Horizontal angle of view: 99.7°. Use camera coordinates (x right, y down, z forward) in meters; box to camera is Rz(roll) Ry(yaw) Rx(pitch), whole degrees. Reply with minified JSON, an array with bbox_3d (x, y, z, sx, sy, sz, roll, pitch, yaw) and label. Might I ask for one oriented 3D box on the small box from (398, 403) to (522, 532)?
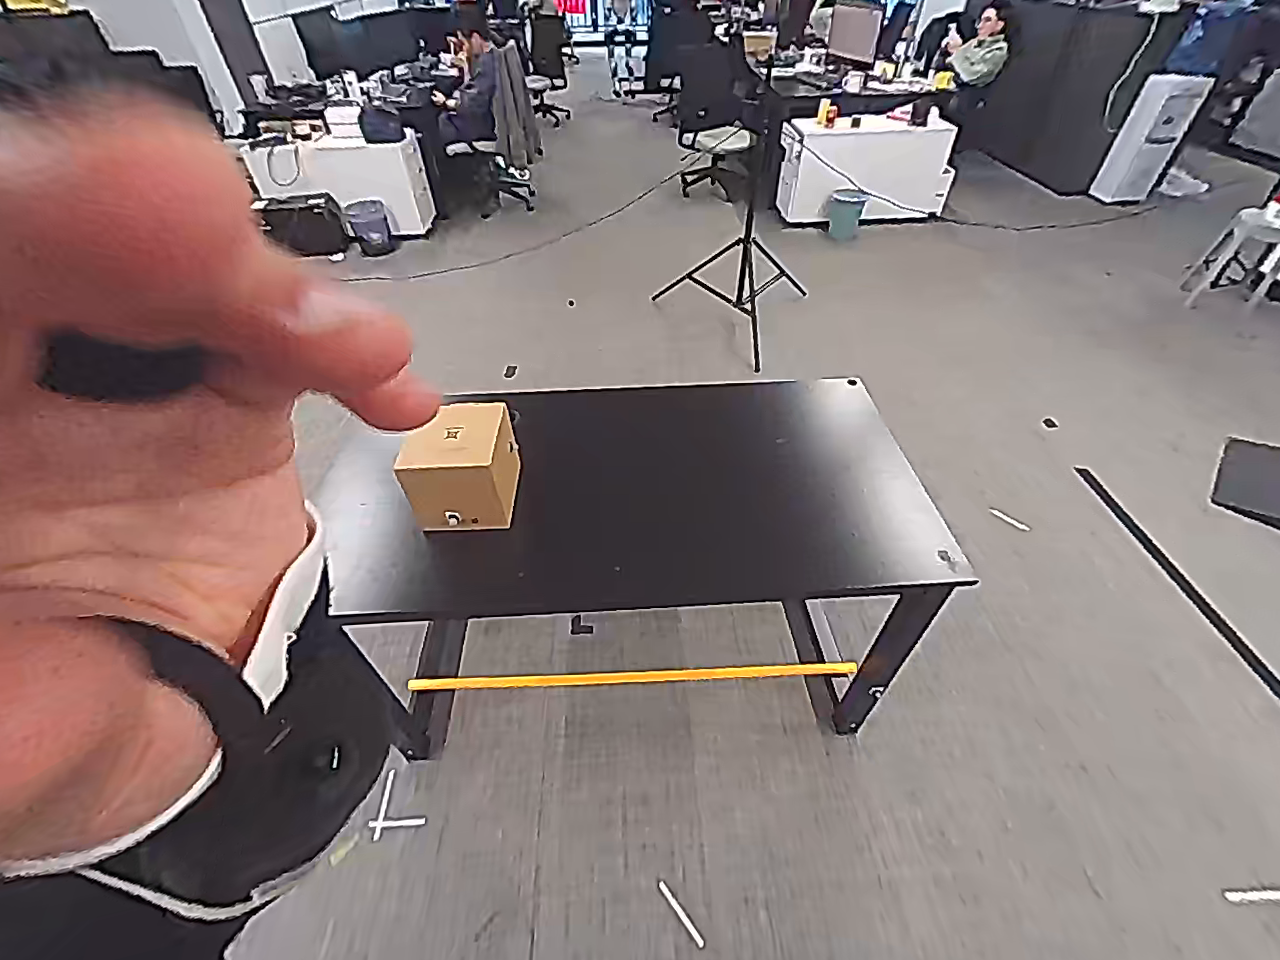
[{"bbox_3d":[-0.322,-0.023,1.013,0.168,0.176,0.179,-3,46,0],"label":"small box"}]
